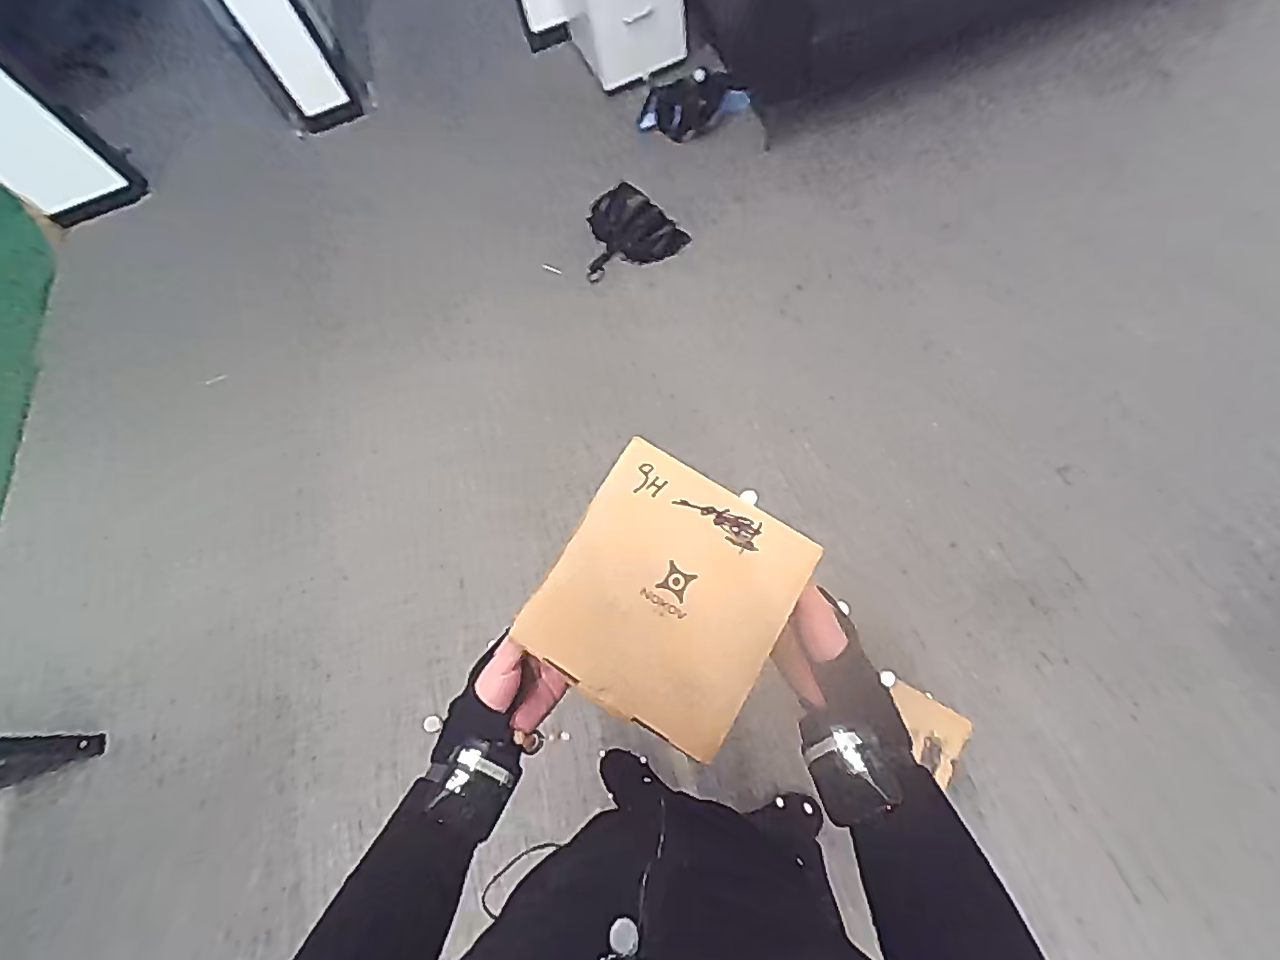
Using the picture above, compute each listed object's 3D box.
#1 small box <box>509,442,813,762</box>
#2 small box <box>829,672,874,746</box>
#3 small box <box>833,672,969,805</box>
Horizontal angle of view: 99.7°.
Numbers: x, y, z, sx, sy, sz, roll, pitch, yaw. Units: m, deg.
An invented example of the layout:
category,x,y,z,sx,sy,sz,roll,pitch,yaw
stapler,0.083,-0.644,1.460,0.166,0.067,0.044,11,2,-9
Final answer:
category,x,y,z,sx,sy,sz,roll,pitch,yaw
small box,0.016,0.099,0.471,0.168,0.176,0.179,30,79,4
small box,0.550,0.562,1.237,0.179,0.176,0.168,21,71,17
small box,0.513,0.509,1.084,0.179,0.176,0.168,28,73,22
